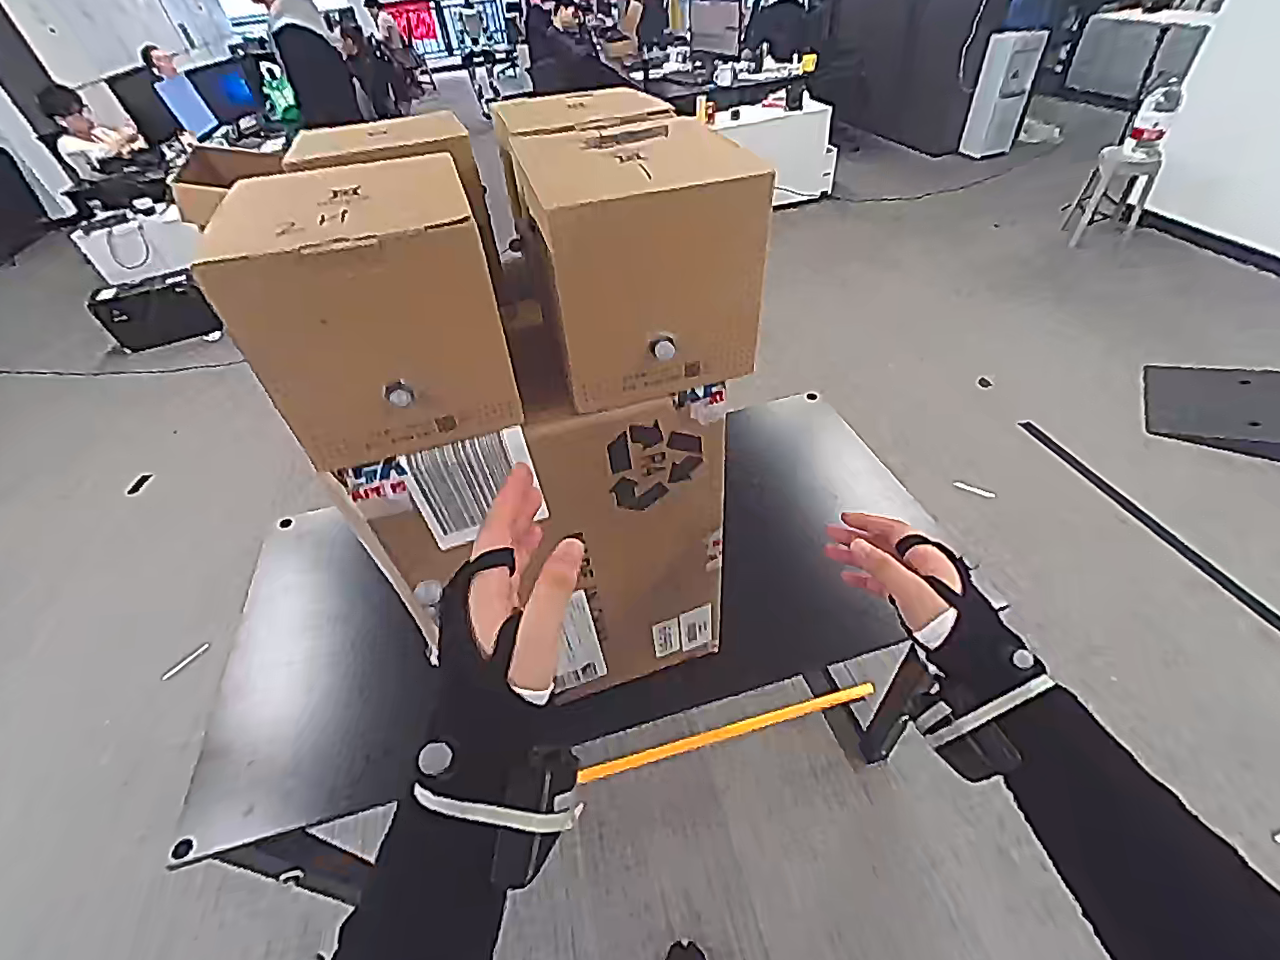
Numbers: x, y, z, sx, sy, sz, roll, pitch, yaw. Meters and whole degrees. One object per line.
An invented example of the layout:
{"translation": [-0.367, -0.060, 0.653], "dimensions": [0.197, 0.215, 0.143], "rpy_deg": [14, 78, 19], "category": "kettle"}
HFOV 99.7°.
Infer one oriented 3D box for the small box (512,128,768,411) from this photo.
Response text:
{"translation": [-0.007, -0.188, 0.478], "dimensions": [0.168, 0.176, 0.179], "rpy_deg": [-15, 46, -9], "category": "small box"}
